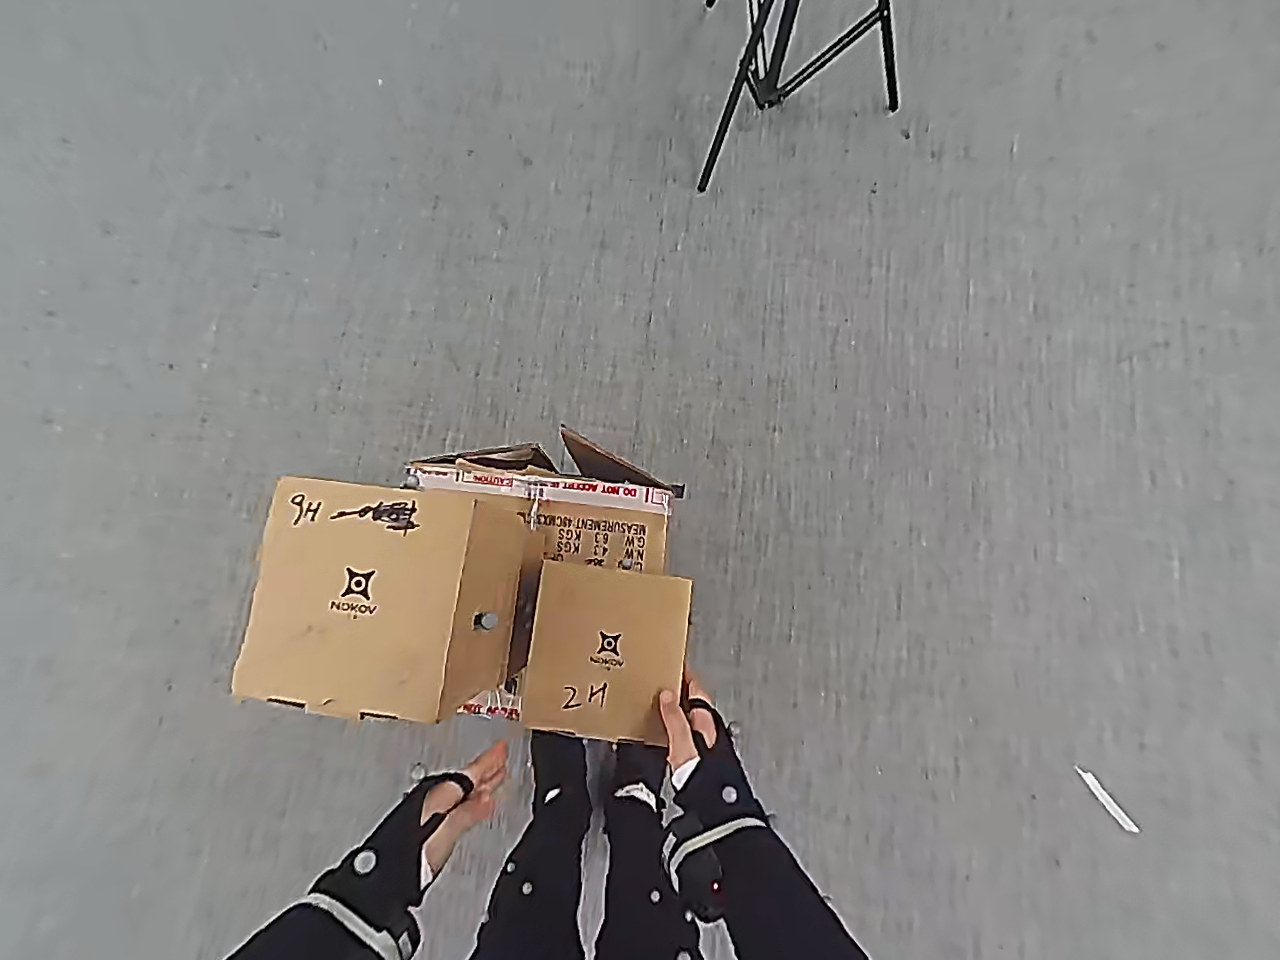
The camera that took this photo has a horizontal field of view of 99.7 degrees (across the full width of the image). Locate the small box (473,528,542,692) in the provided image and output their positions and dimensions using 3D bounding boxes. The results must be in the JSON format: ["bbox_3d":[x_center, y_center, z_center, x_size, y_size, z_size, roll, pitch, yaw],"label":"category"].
[{"bbox_3d":[-0.221,0.143,0.658,0.168,0.176,0.179,5,81,2],"label":"small box"}]

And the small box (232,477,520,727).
[{"bbox_3d":[-0.219,0.103,0.499,0.168,0.176,0.179,7,82,2],"label":"small box"}]

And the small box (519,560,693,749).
[{"bbox_3d":[-0.035,0.195,0.649,0.168,0.176,0.179,7,81,1],"label":"small box"}]
